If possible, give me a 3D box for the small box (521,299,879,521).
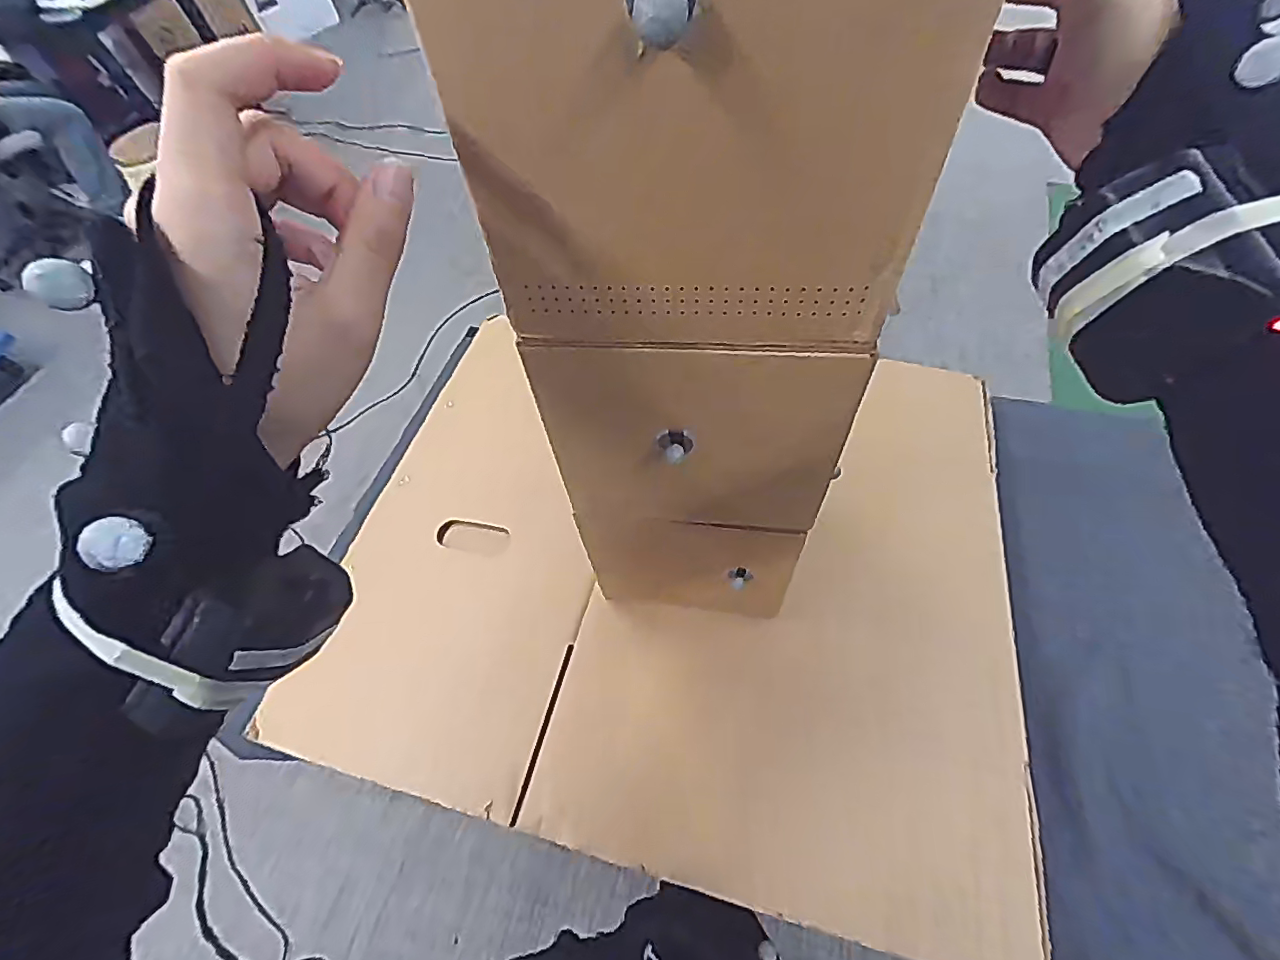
[{"bbox_3d":[0.041,-0.084,0.369,0.179,0.176,0.168,3,56,8],"label":"small box"}]

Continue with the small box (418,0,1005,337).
[{"bbox_3d":[0.031,-0.179,0.238,0.179,0.176,0.168,2,56,8],"label":"small box"}]

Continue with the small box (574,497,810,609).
[{"bbox_3d":[0.053,0.010,0.504,0.179,0.176,0.168,3,56,9],"label":"small box"}]
